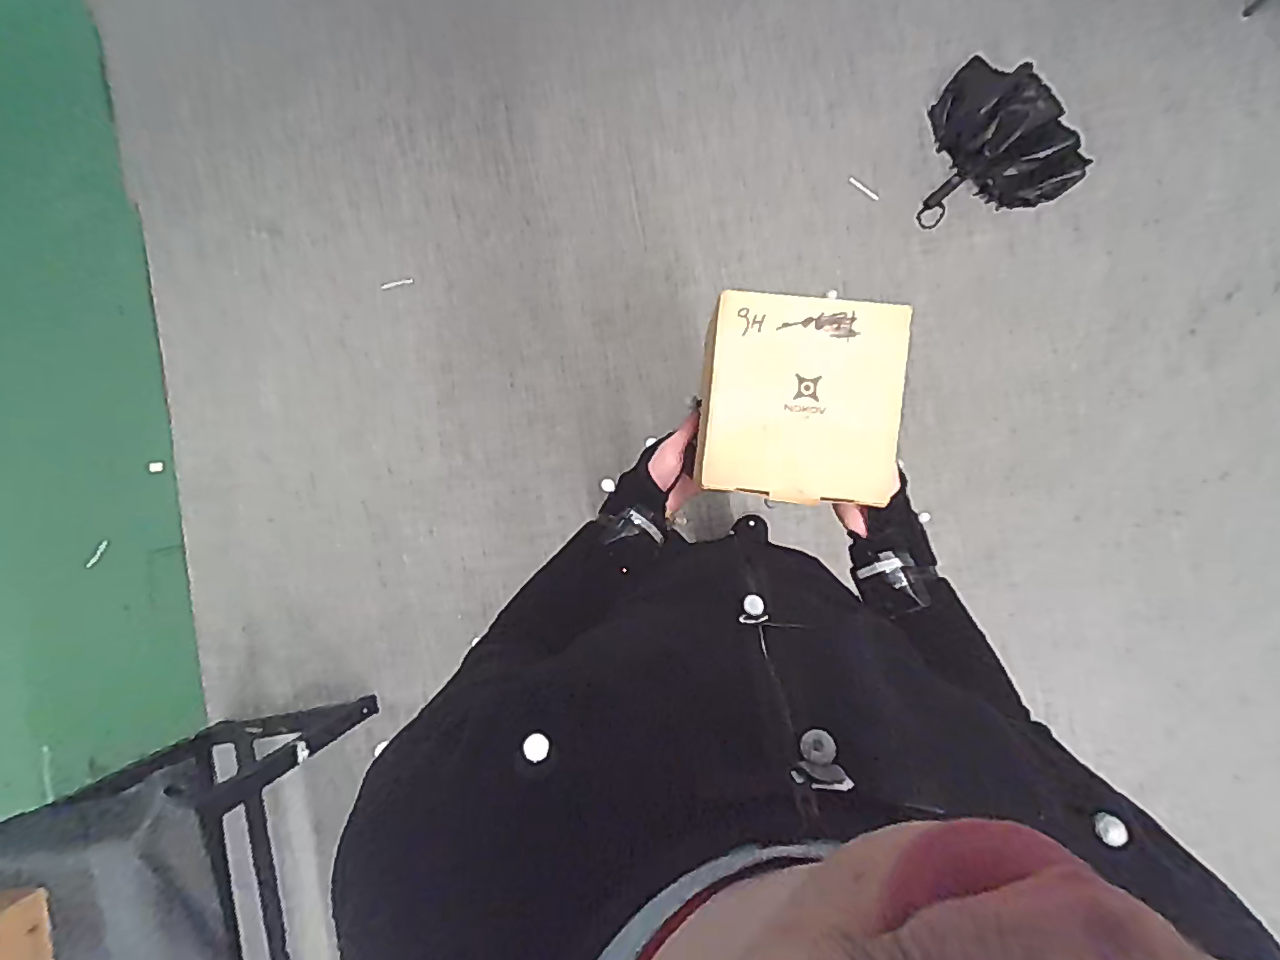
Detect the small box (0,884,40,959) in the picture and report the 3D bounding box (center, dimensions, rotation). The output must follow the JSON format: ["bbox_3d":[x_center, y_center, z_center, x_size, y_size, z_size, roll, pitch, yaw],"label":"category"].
[{"bbox_3d":[-1.185,0.826,0.920,0.179,0.176,0.168,-8,87,9],"label":"small box"}]

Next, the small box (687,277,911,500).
[{"bbox_3d":[0.140,-0.082,0.540,0.168,0.176,0.179,6,93,1],"label":"small box"}]
